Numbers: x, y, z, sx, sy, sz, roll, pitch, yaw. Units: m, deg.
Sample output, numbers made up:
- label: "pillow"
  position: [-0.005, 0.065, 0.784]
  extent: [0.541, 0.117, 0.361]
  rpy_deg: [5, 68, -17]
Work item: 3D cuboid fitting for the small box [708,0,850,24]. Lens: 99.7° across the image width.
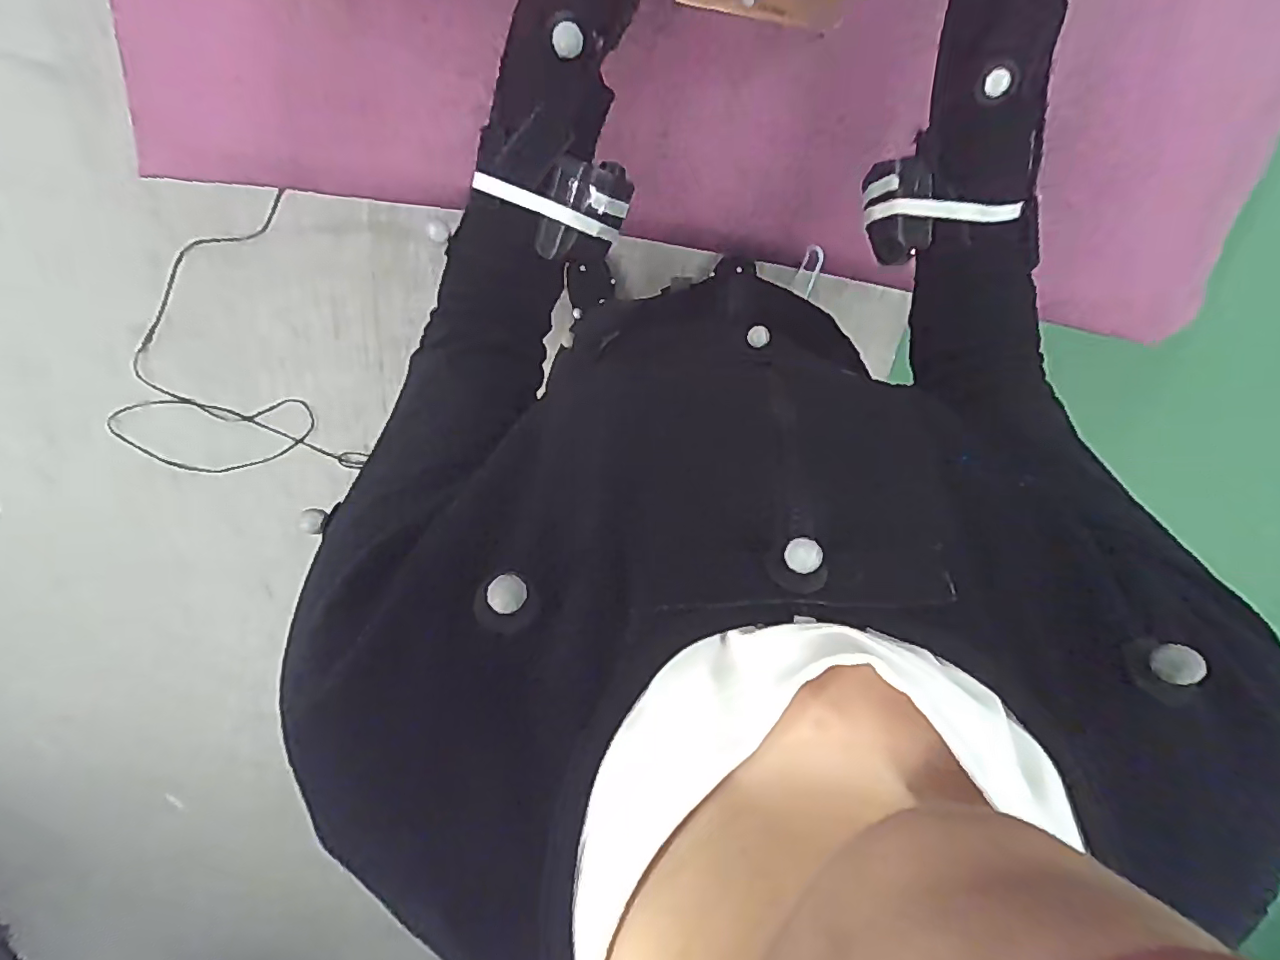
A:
- label: "small box"
  position: [0.127, -0.516, 0.434]
  extent: [0.168, 0.176, 0.179]
  rpy_deg: [9, 115, -3]
